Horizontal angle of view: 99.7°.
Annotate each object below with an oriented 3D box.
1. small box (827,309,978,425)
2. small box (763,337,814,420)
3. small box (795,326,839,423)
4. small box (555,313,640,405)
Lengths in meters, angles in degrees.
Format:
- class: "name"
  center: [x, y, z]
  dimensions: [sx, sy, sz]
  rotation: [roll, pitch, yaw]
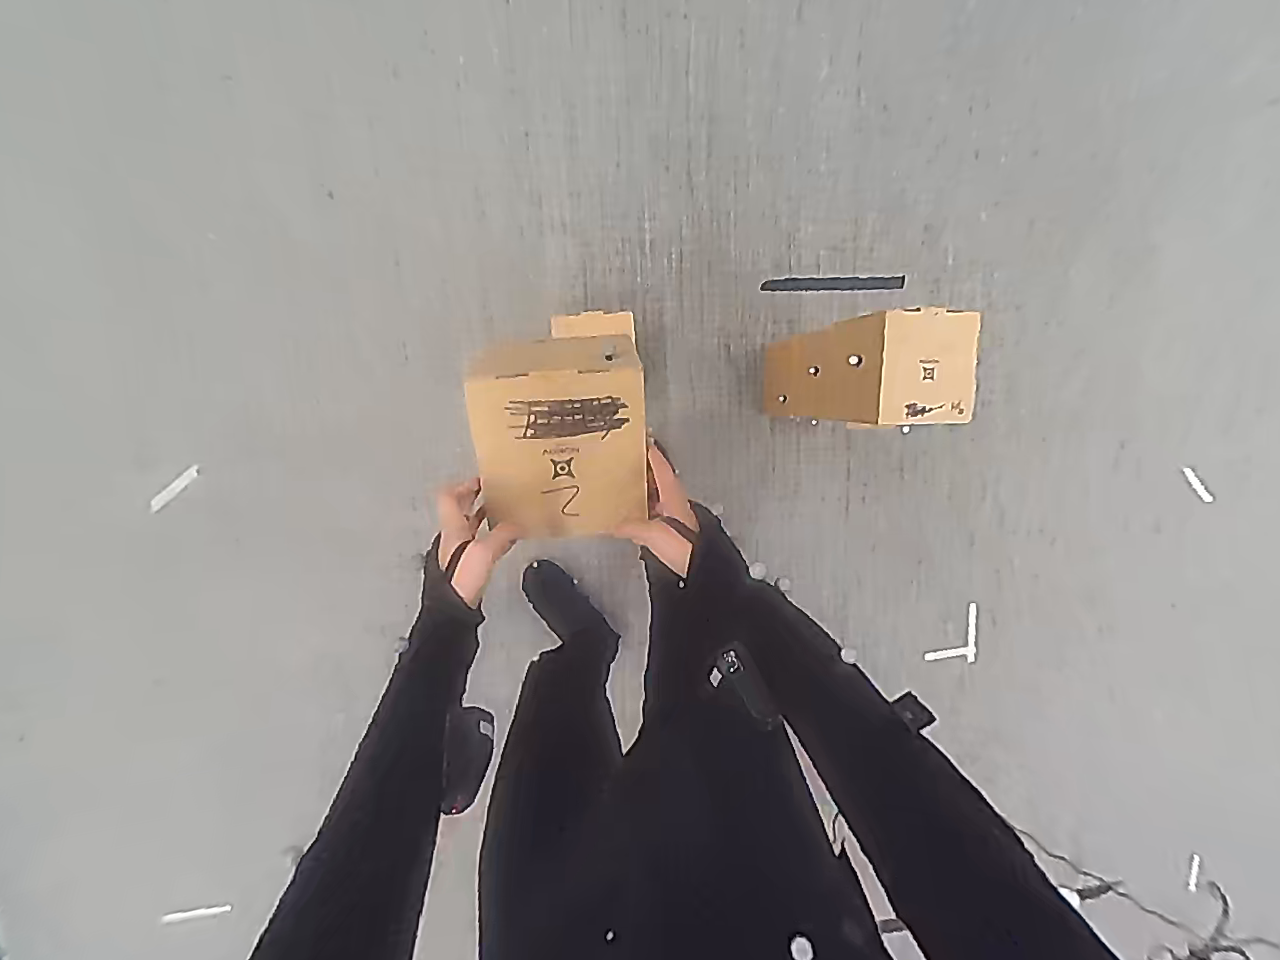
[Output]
- class: "small box"
  center: [0.435, -0.184, 0.919]
  dimensions: [0.168, 0.176, 0.179]
  rotation: [-1, 98, -9]
- class: "small box"
  center: [0.392, -0.228, 1.242]
  dimensions: [0.168, 0.176, 0.179]
  rotation: [-1, 99, -9]
- class: "small box"
  center: [0.423, -0.206, 1.082]
  dimensions: [0.168, 0.176, 0.179]
  rotation: [-1, 98, -9]
- class: "small box"
  center: [-0.096, -0.254, 1.163]
  dimensions: [0.168, 0.176, 0.179]
  rotation: [-5, 98, -7]
